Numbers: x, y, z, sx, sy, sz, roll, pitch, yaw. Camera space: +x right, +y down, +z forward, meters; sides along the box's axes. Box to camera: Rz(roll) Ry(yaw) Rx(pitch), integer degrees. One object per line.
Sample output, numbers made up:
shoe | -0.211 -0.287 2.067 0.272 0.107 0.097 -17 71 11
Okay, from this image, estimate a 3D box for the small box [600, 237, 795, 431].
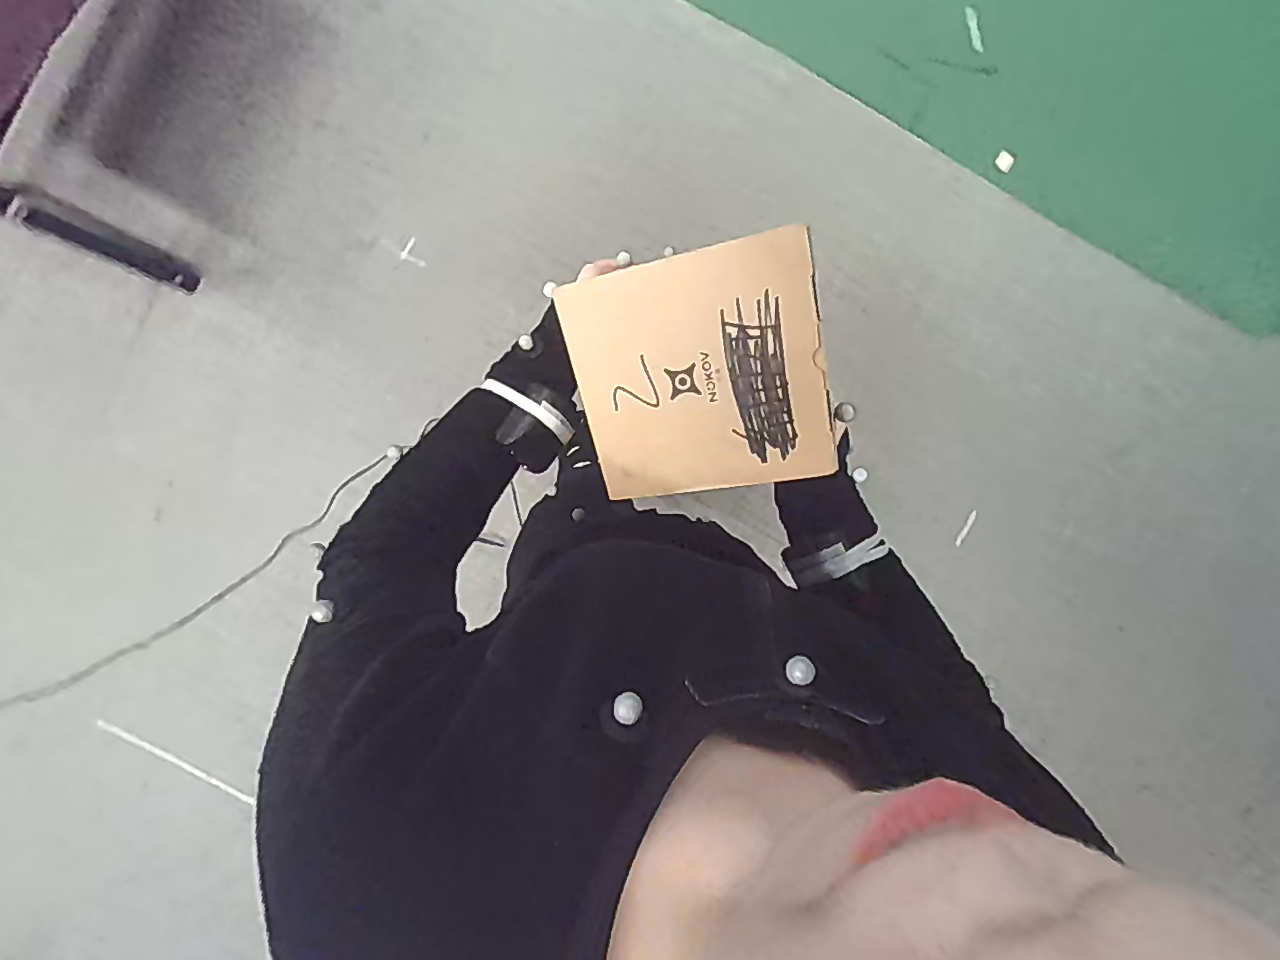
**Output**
small box | 0.076 -0.163 0.598 0.179 0.176 0.168 -5 112 17
